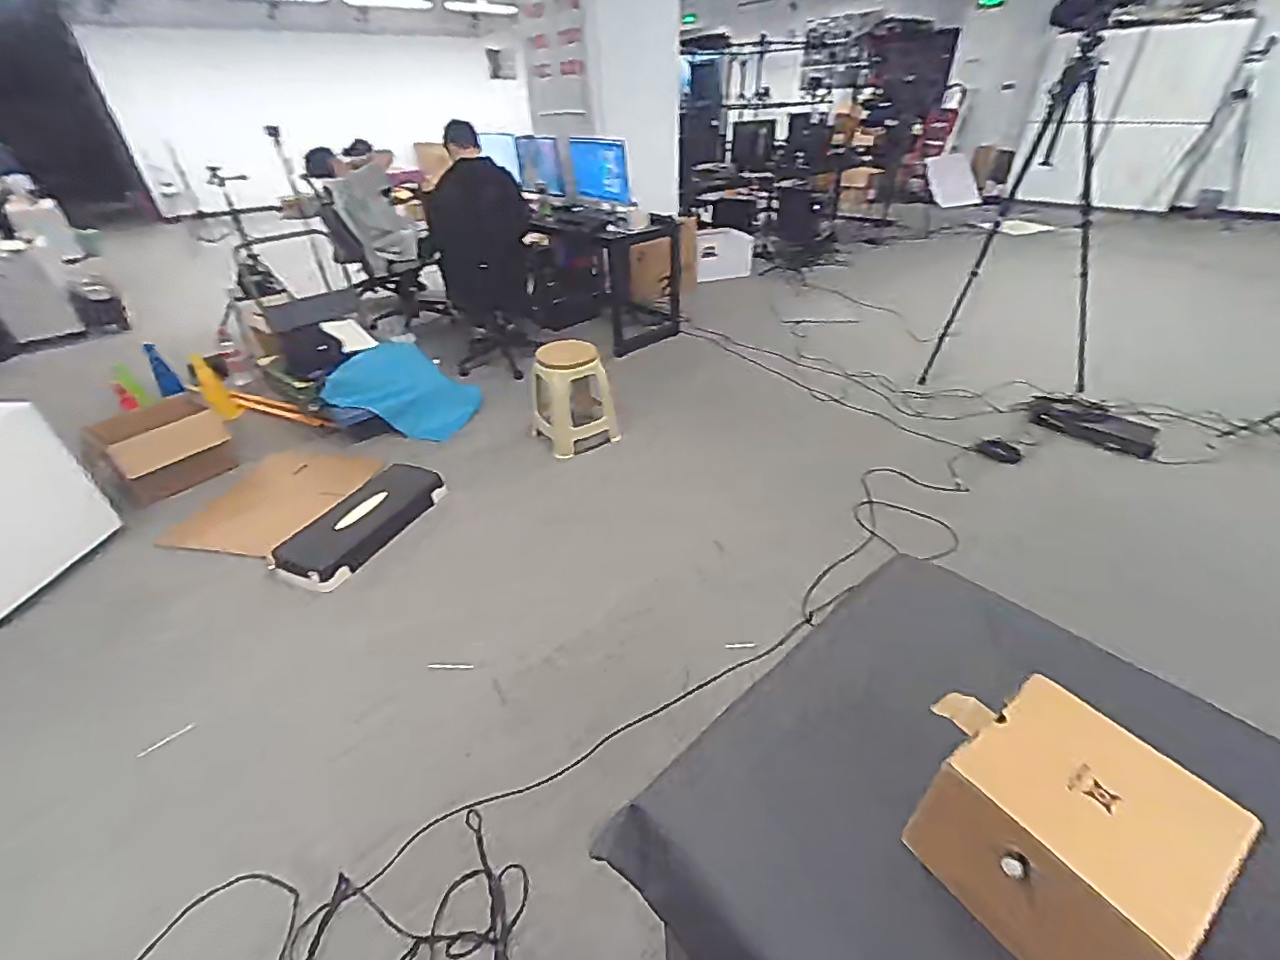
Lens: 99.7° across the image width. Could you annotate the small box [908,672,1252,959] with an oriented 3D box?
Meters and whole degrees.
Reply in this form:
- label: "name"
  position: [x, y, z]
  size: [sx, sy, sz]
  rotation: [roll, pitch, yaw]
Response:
- label: "small box"
  position: [0.396, 0.332, 0.517]
  size: [0.168, 0.176, 0.179]
  rotation: [-22, 39, -27]
